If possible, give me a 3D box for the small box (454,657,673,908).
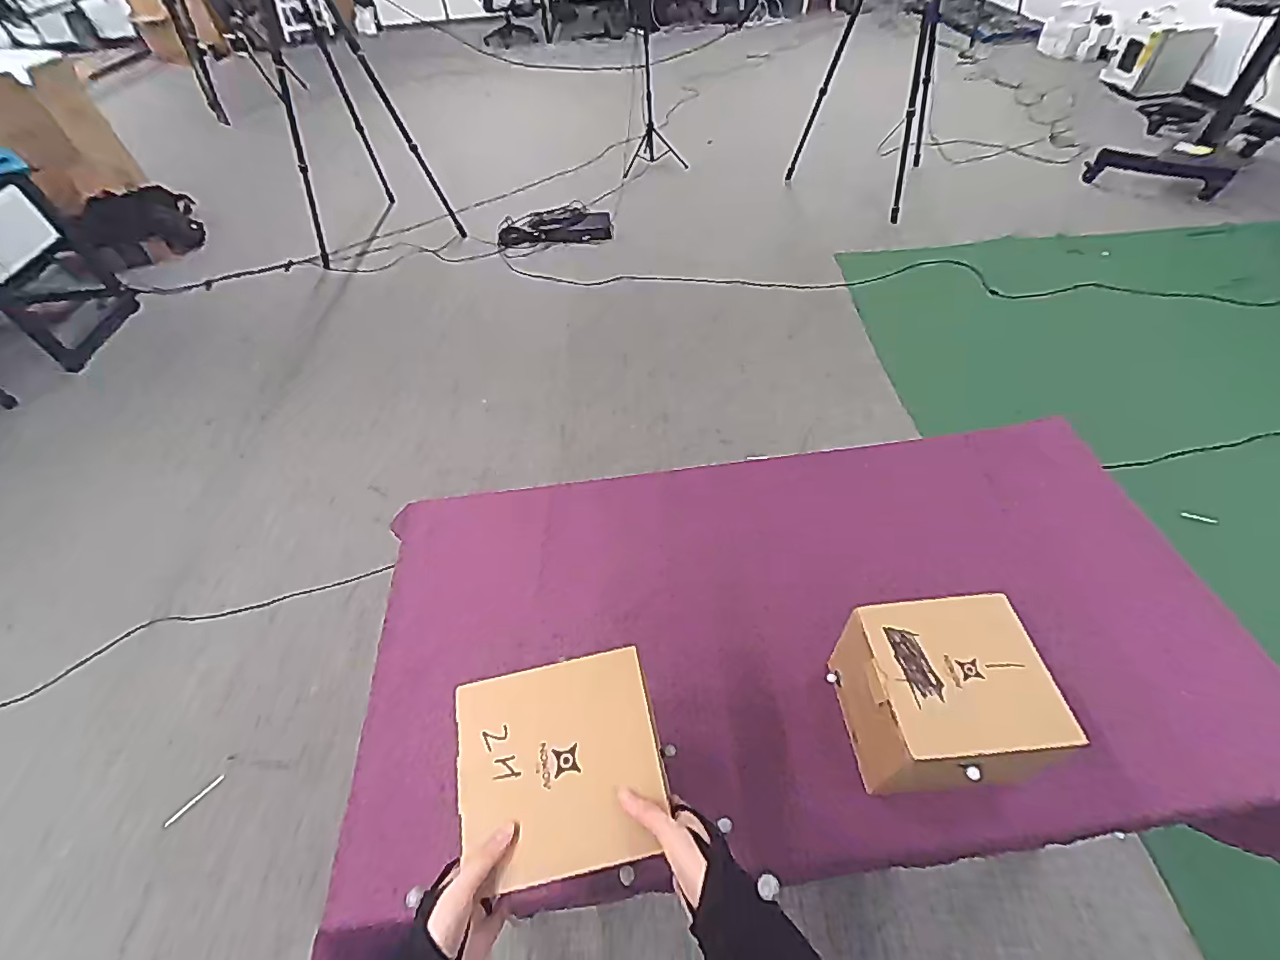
[{"bbox_3d":[-0.068,0.290,0.532,0.179,0.176,0.168,-12,58,-2],"label":"small box"}]

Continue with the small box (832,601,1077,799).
[{"bbox_3d":[0.339,0.262,0.634,0.179,0.176,0.168,-5,49,0],"label":"small box"}]
